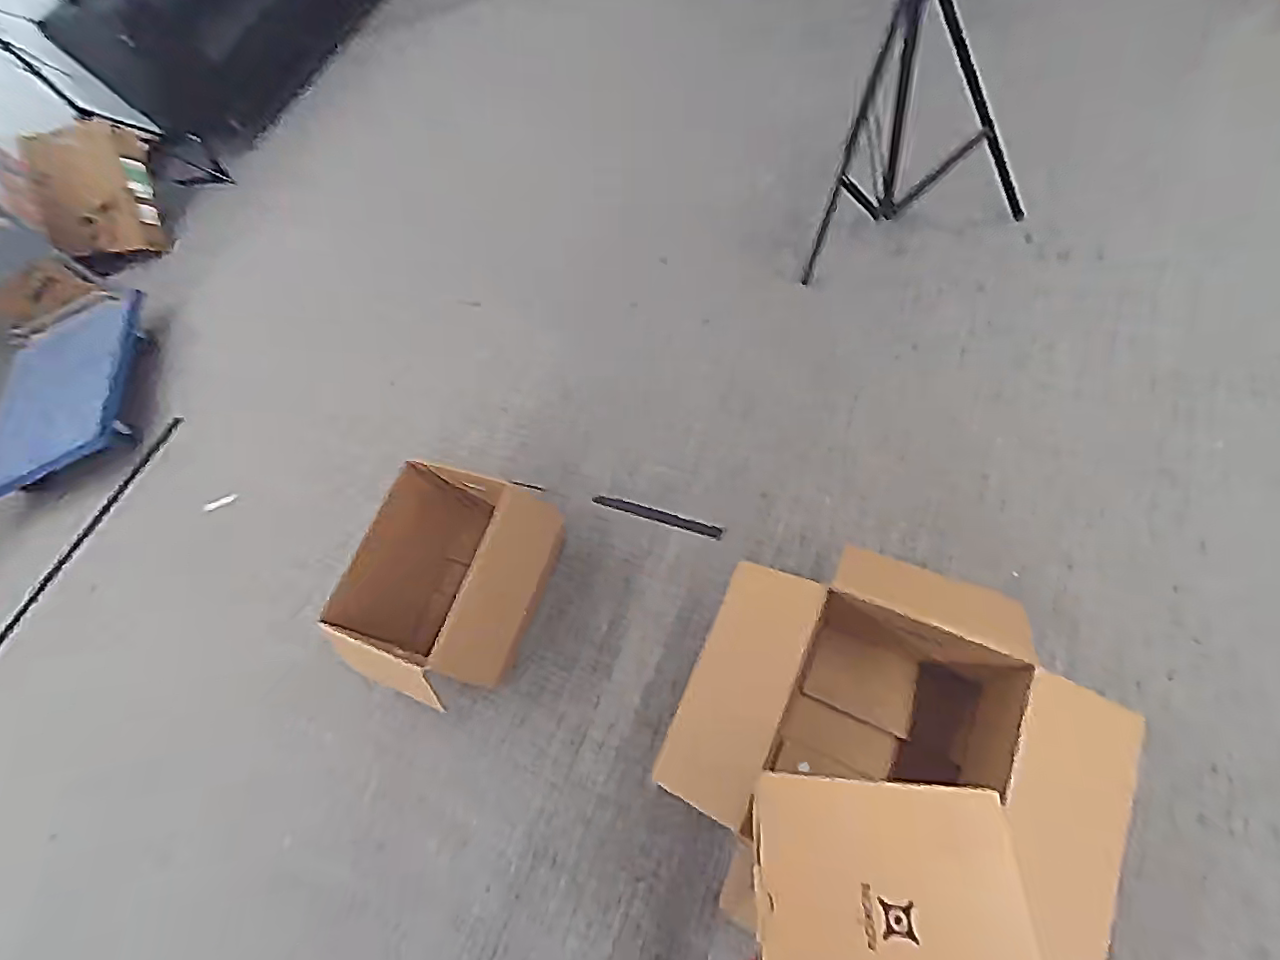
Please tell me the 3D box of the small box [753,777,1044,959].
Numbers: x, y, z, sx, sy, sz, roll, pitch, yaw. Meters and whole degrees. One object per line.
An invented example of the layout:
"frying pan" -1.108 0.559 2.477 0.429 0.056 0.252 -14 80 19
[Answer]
"small box" 0.178 0.338 0.415 0.179 0.176 0.168 -2 53 12
